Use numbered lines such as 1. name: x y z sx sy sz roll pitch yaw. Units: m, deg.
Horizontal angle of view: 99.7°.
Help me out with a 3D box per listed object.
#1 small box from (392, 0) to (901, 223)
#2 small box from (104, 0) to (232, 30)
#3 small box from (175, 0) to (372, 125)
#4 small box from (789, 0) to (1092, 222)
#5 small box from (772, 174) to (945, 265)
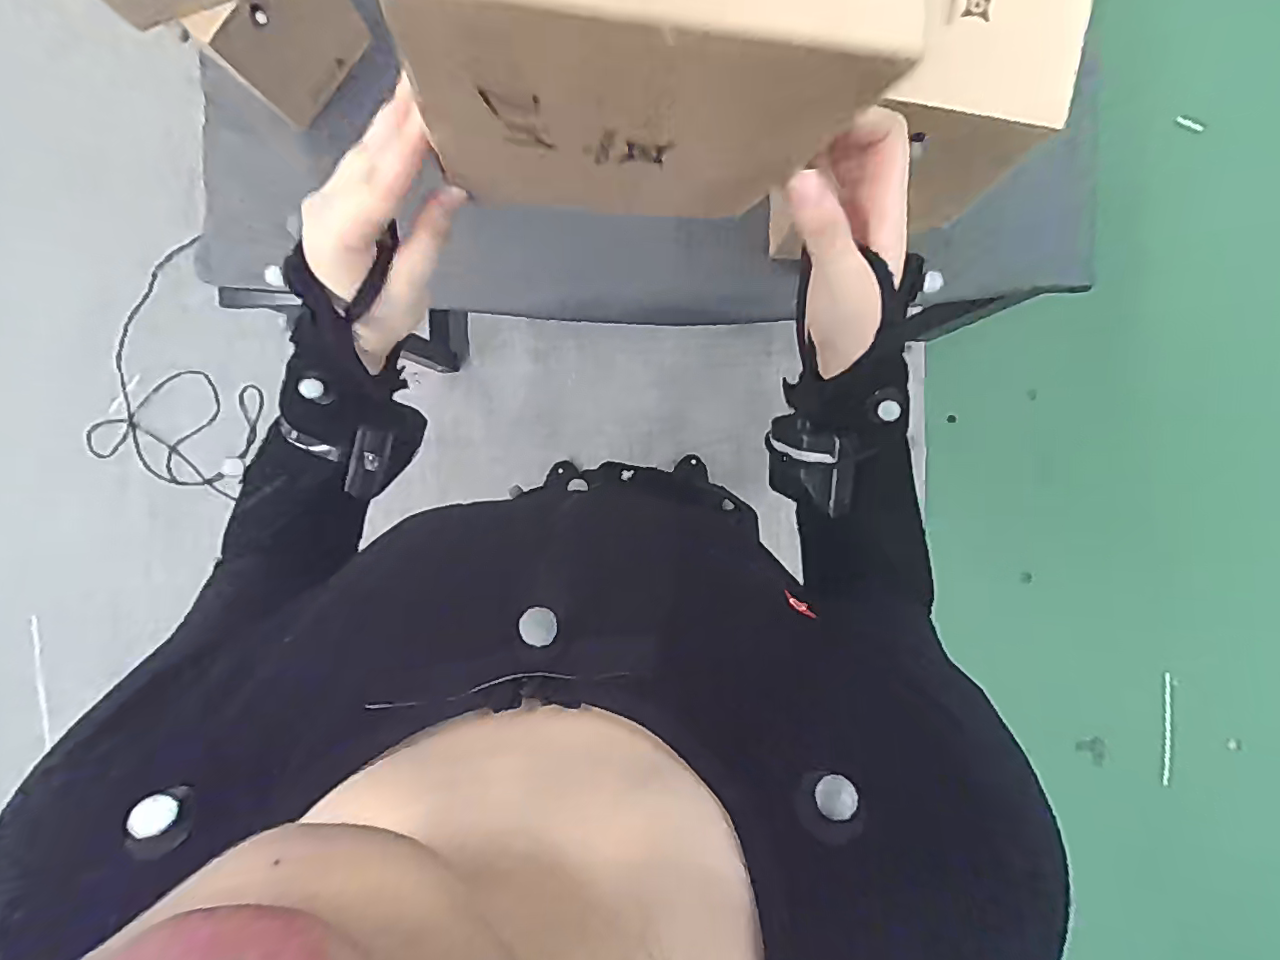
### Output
1. small box: -0.008 -0.226 0.234 0.179 0.168 0.176 -3 100 -13
2. small box: -0.482 -0.579 0.497 0.179 0.176 0.168 -19 93 3
3. small box: -0.478 -0.591 0.661 0.179 0.176 0.168 40 93 -1
4. small box: 0.253 -0.358 0.488 0.179 0.176 0.168 11 92 2
5. small box: 0.258 -0.378 0.650 0.168 0.176 0.179 1 92 2
